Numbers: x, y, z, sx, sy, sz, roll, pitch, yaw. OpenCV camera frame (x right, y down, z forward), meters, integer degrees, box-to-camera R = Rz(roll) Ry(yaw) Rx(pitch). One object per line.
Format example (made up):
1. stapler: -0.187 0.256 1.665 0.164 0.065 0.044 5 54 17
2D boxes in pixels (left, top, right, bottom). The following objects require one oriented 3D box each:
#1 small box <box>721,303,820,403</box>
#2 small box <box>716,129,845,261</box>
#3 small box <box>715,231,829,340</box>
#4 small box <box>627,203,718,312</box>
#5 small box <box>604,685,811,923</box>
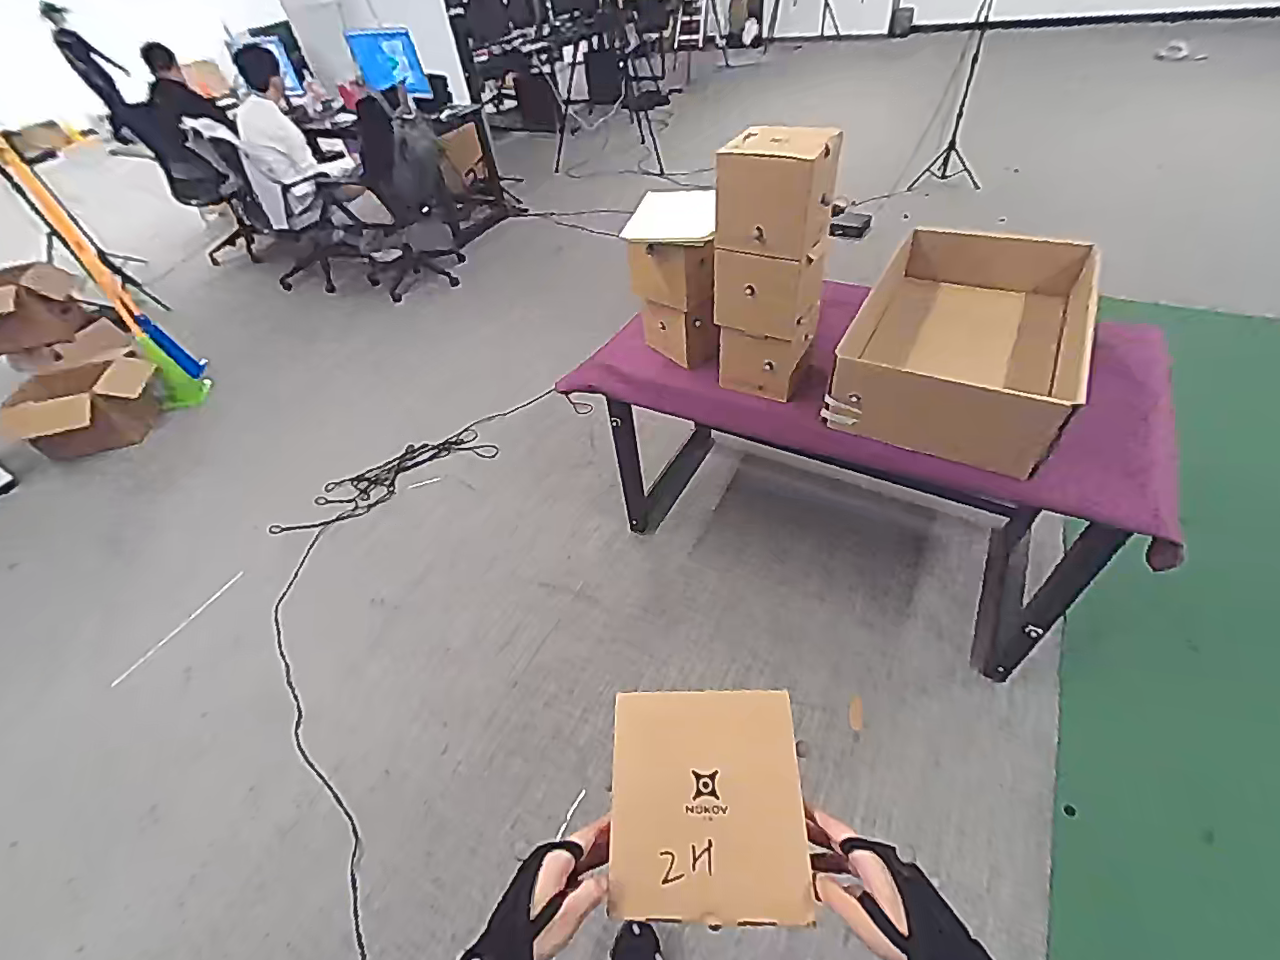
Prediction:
1. small box: 0.296 -0.302 1.237 0.168 0.176 0.179 21 51 25
2. small box: 0.254 -0.525 1.001 0.179 0.176 0.168 21 51 24
3. small box: 0.268 -0.410 1.117 0.179 0.176 0.168 20 51 24
4. small box: 0.095 -0.507 1.239 0.179 0.176 0.168 31 57 33
5. small box: 0.065 0.314 0.535 0.168 0.176 0.179 -4 56 8
